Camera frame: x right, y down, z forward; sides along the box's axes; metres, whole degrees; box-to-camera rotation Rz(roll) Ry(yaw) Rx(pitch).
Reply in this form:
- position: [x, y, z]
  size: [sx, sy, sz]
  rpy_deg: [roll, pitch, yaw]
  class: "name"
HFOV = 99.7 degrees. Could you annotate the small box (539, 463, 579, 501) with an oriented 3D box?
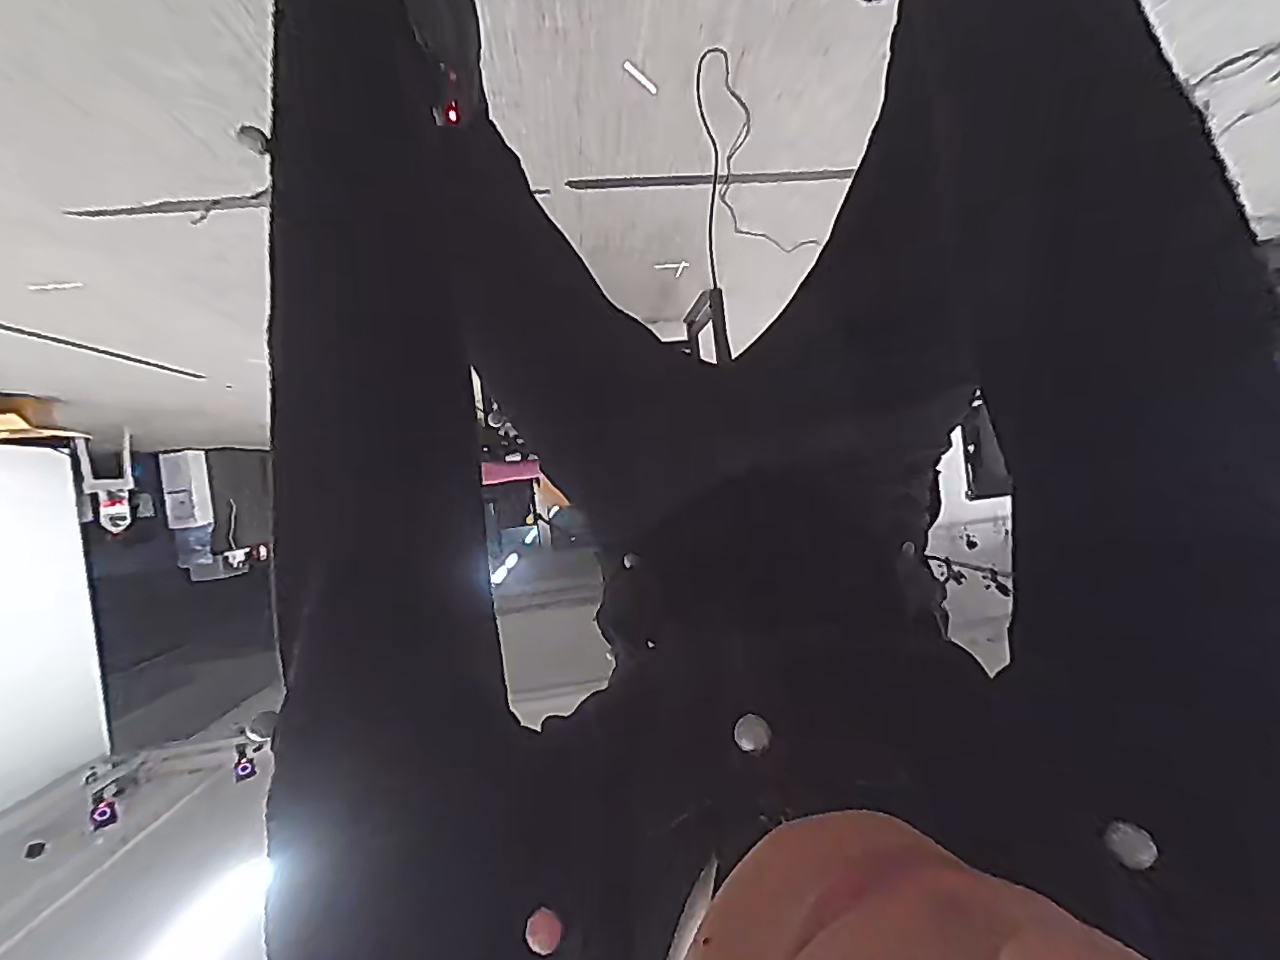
- position: [-0.411, 0.009, 2.745]
  size: [0.179, 0.176, 0.168]
  rpy_deg: [-9, 180, -7]
  class: "small box"
